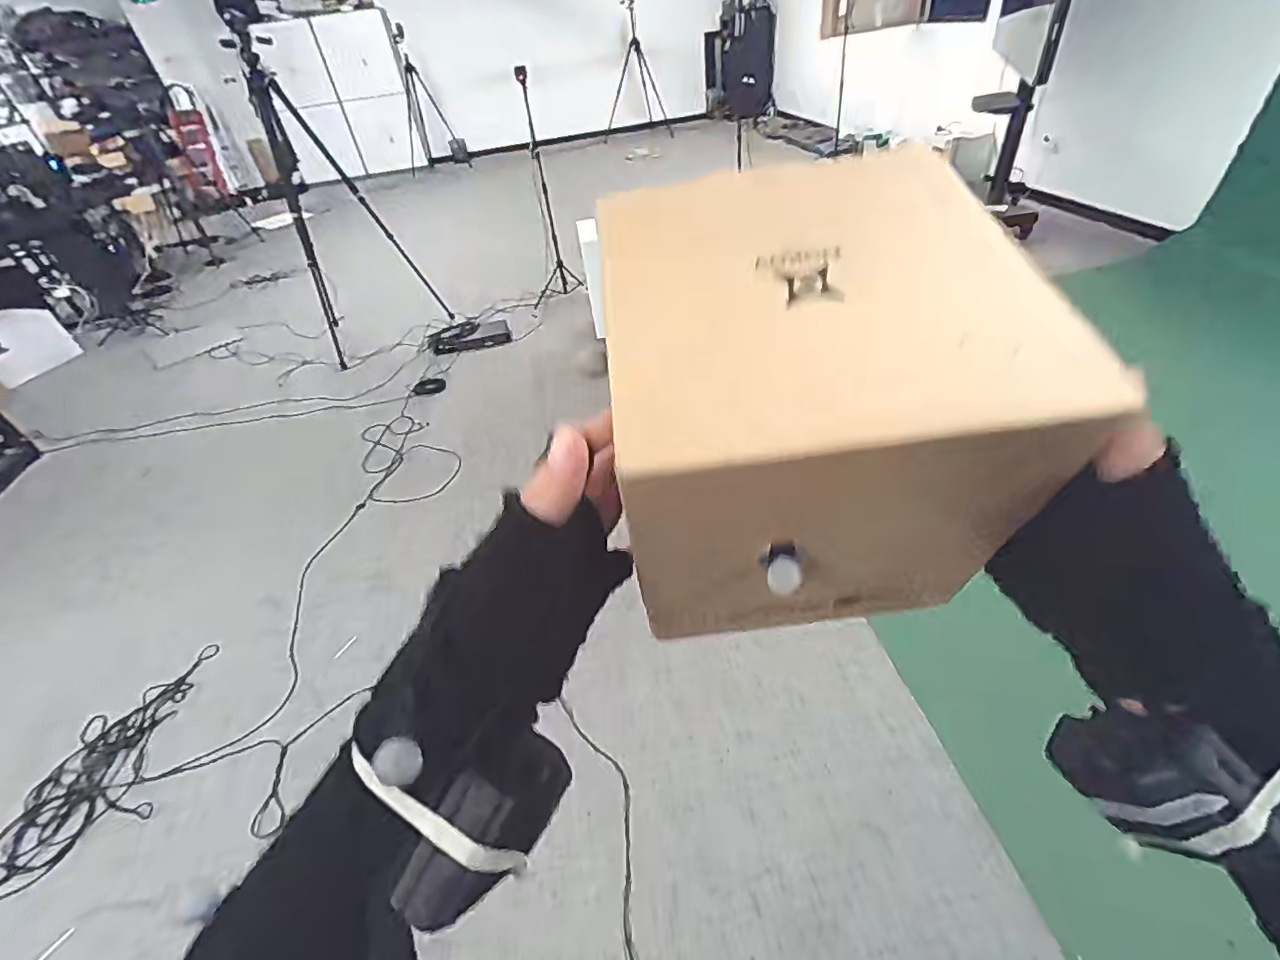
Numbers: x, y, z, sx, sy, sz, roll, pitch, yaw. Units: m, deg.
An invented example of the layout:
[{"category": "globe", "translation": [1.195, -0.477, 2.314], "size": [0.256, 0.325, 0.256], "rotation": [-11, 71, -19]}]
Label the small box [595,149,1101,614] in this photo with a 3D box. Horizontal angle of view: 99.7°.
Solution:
[{"category": "small box", "translation": [0.073, -0.039, 0.291], "size": [0.168, 0.176, 0.179], "rotation": [-8, 54, 2]}]
